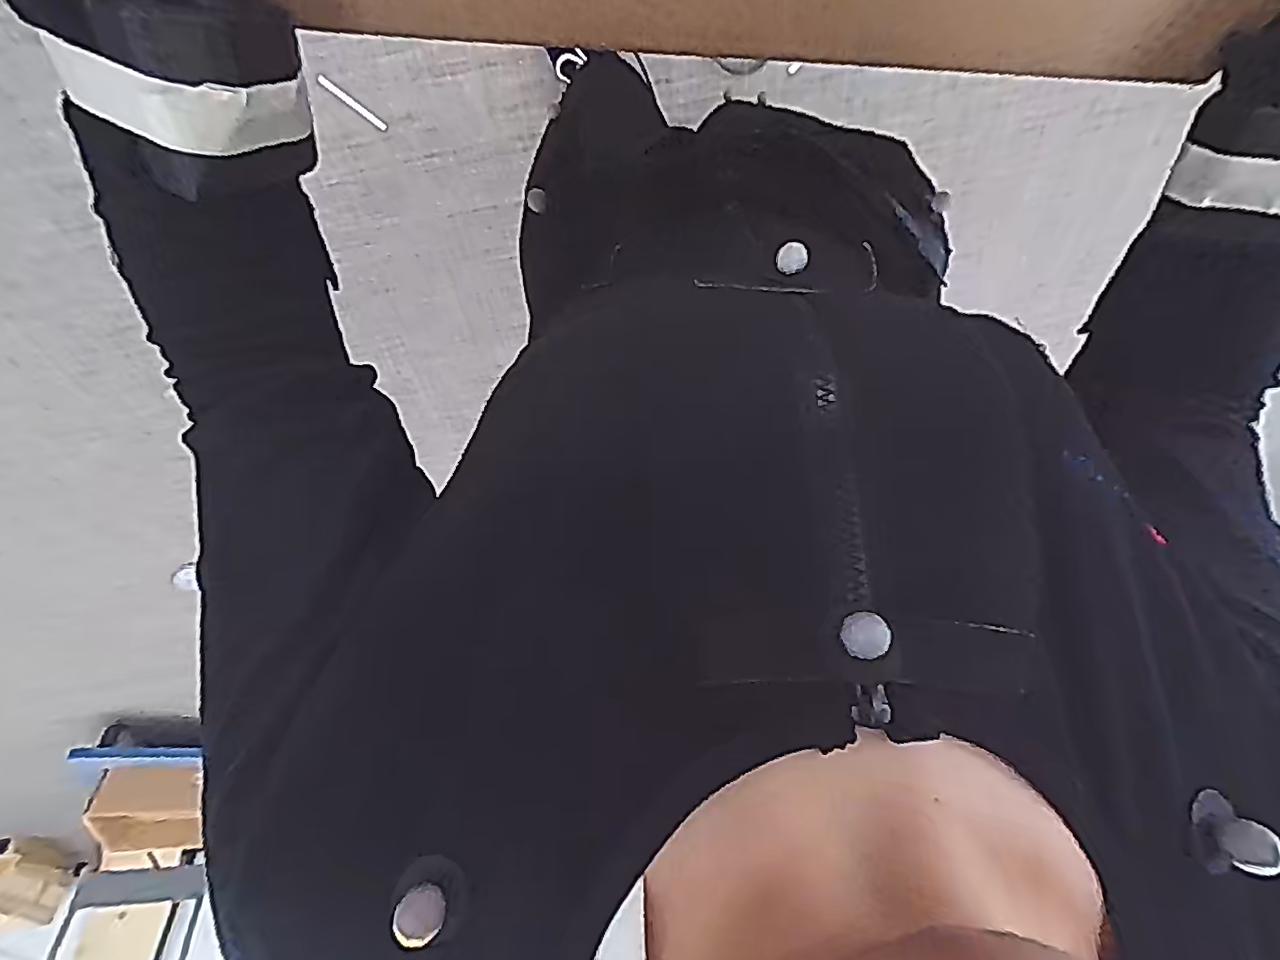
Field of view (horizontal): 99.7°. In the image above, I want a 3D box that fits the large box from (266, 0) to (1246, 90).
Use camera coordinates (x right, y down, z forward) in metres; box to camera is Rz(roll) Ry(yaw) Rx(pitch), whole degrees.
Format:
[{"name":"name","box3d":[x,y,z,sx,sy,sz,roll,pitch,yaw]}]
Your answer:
[{"name":"large box","box3d":[0.055,-0.375,0.152,0.408,0.320,0.320,0,159,-4]}]
